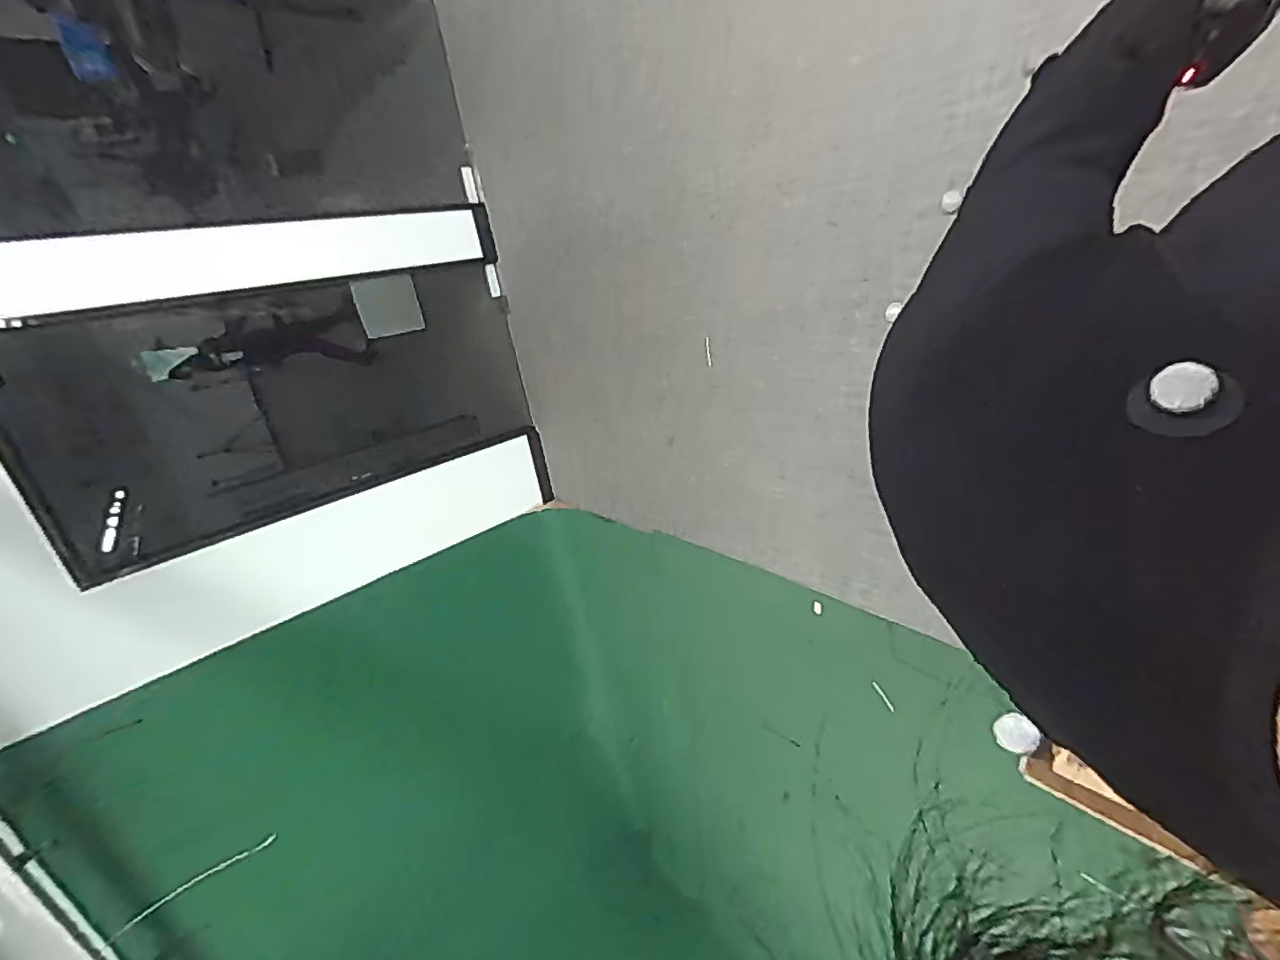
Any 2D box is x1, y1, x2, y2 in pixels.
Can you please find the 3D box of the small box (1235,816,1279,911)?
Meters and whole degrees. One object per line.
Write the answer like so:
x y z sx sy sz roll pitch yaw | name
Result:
1.226 0.759 0.969 0.179 0.176 0.168 20 125 47 | small box

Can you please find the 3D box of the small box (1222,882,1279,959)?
1.094 0.811 0.883 0.179 0.176 0.168 19 125 47 | small box
